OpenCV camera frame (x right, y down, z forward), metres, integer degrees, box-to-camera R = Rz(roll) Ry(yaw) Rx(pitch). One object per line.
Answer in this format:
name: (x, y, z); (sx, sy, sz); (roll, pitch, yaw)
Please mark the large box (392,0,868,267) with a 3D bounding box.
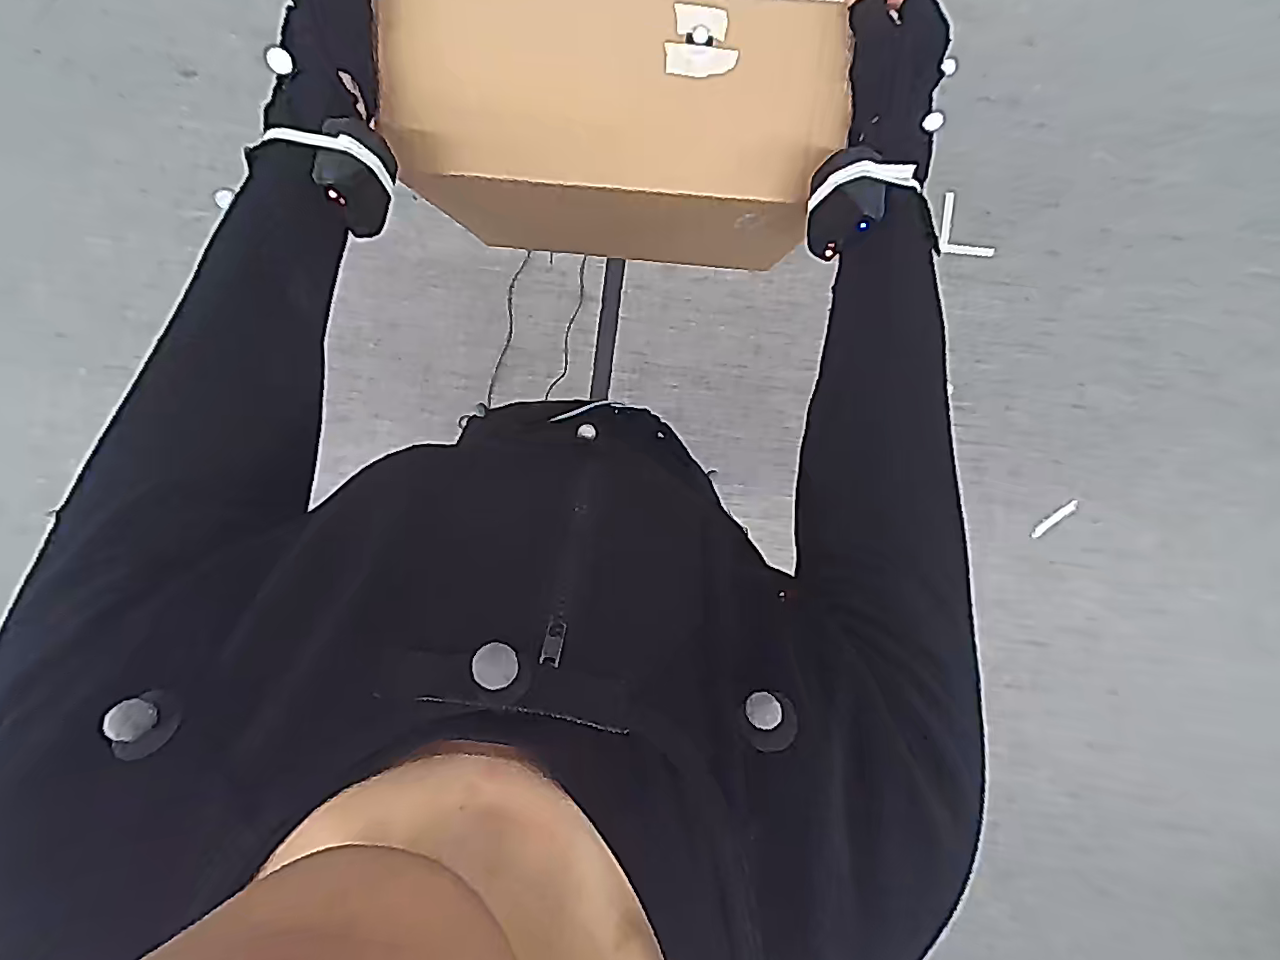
large box: (-0.008, -0.435, 0.594); (0.408, 0.320, 0.320); (5, 102, 0)
